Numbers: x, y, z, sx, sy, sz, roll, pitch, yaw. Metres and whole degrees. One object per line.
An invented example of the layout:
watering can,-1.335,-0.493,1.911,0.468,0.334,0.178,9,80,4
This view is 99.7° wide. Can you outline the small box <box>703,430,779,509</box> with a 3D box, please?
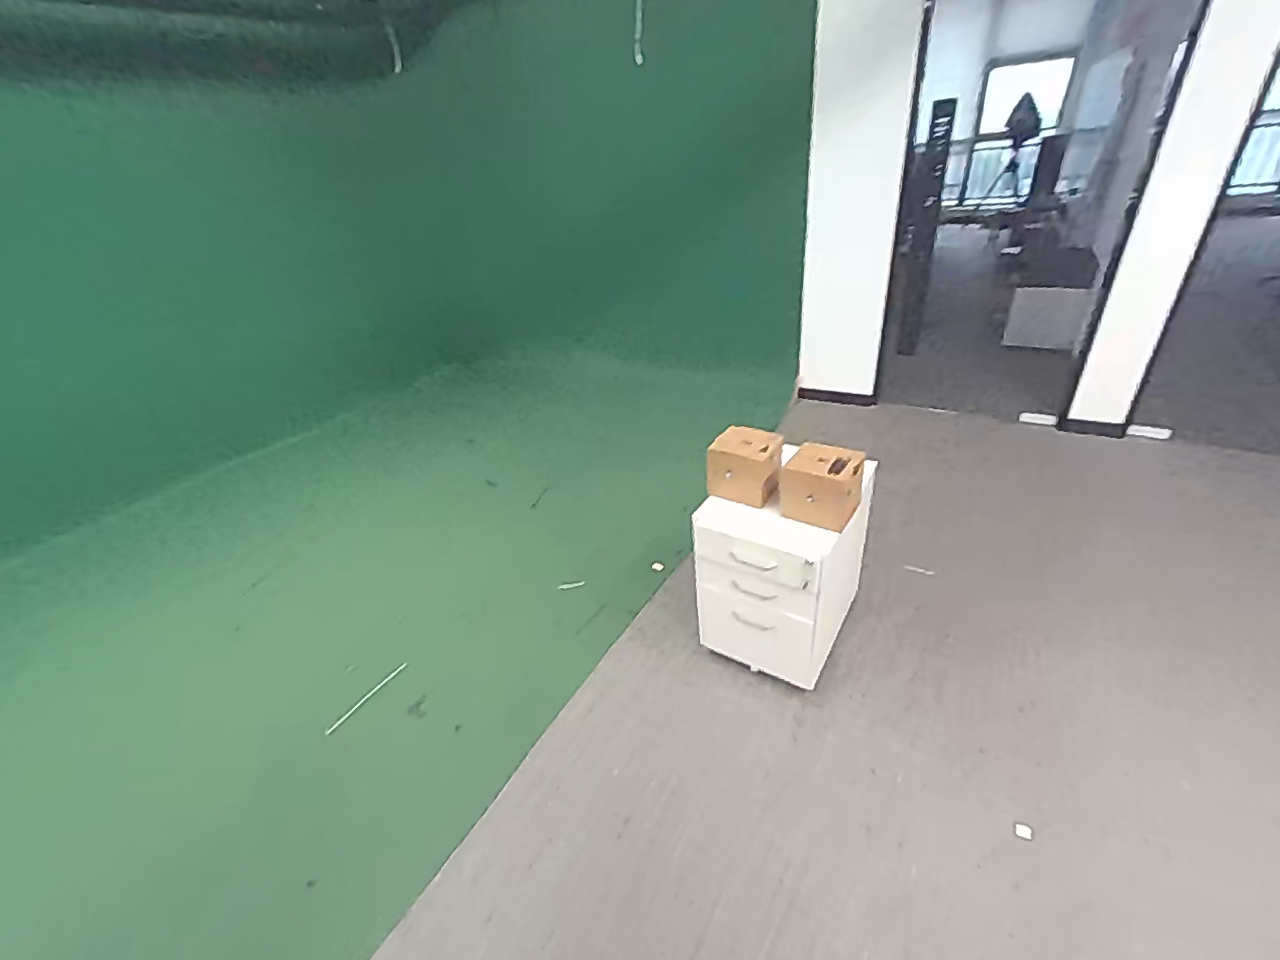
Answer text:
small box,0.306,-0.032,1.639,0.179,0.176,0.168,15,37,30
